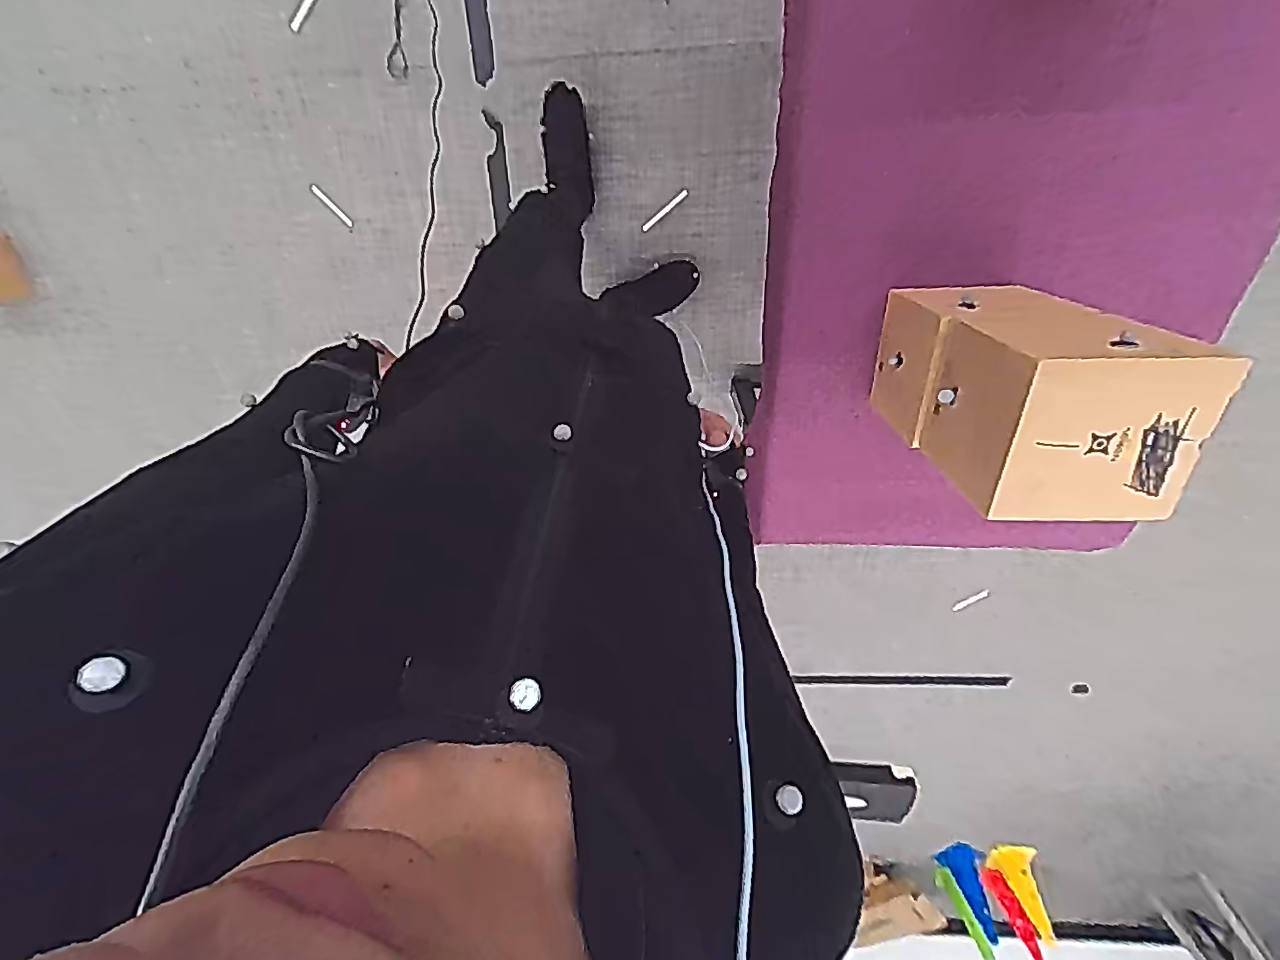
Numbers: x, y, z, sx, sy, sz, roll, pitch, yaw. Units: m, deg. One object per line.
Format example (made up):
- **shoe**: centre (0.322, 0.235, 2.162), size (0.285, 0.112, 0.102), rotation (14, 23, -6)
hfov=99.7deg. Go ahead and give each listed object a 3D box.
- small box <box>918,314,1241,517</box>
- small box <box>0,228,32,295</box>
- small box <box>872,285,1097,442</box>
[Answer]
- **small box**: centre (0.431, -0.075, 0.572), size (0.179, 0.176, 0.168), rotation (1, 119, 3)
- **small box**: centre (-1.813, -0.592, 1.437), size (0.168, 0.176, 0.179), rotation (6, 121, -1)
- **small box**: centre (0.429, -0.157, 0.714), size (0.179, 0.176, 0.168), rotation (0, 120, 3)
